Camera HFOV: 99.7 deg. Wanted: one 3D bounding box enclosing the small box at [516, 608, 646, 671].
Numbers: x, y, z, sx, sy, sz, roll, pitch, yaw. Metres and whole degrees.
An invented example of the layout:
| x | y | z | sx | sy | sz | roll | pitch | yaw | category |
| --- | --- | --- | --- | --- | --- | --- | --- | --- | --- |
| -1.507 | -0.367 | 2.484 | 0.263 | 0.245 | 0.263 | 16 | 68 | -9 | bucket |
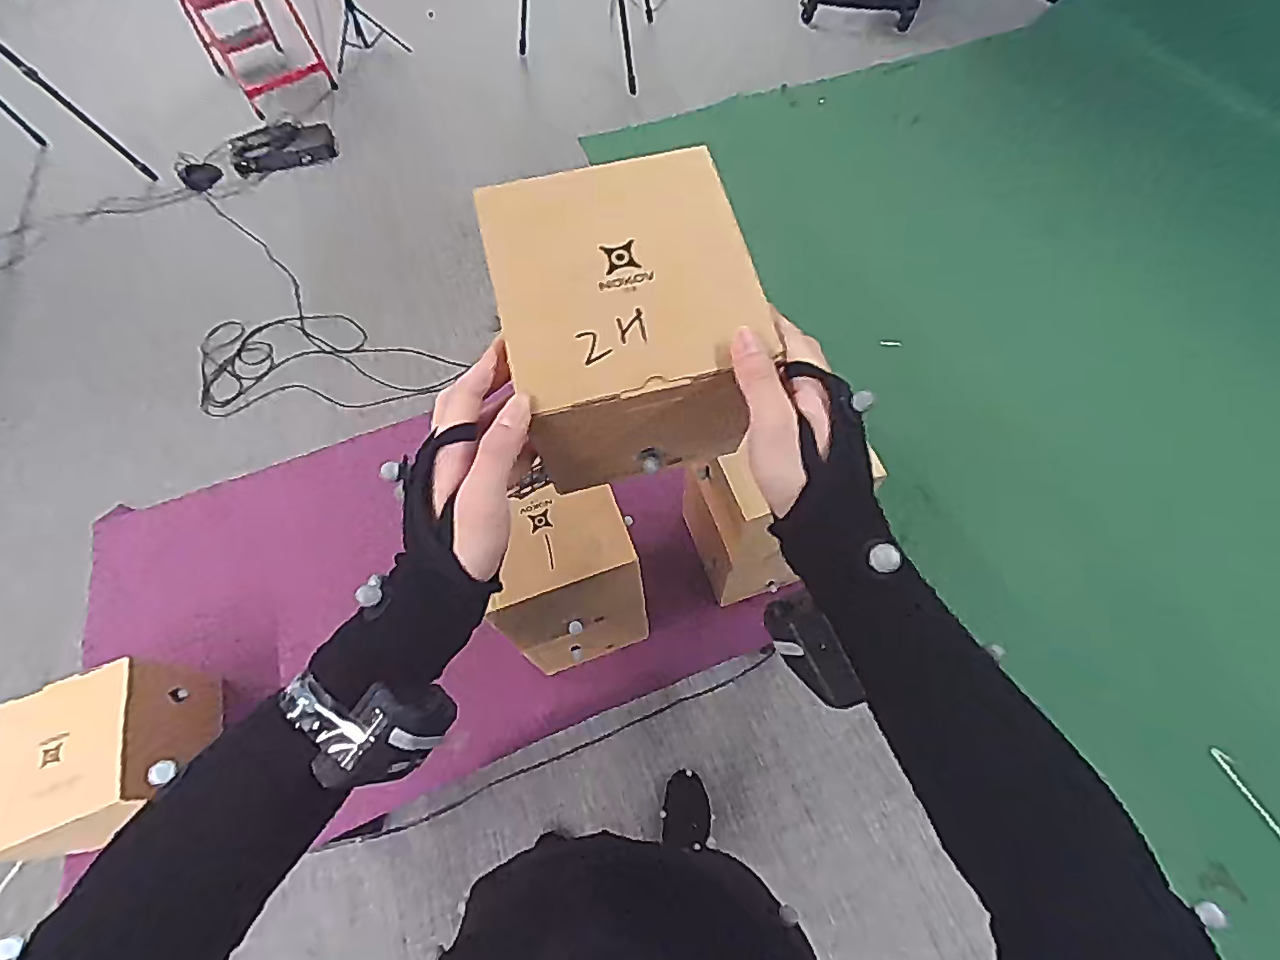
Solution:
| x | y | z | sx | sy | sz | roll | pitch | yaw | category |
| --- | --- | --- | --- | --- | --- | --- | --- | --- | --- |
| -0.096 | 0.164 | 0.788 | 0.168 | 0.176 | 0.179 | -19 | 60 | -7 | small box |

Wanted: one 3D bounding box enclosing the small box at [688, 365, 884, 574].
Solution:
| x | y | z | sx | sy | sz | roll | pitch | yaw | category |
| --- | --- | --- | --- | --- | --- | --- | --- | --- | --- |
| 0.163 | -0.008 | 0.678 | 0.168 | 0.176 | 0.179 | -17 | 61 | -6 | small box |

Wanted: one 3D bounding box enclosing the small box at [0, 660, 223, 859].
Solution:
| x | y | z | sx | sy | sz | roll | pitch | yaw | category |
| --- | --- | --- | --- | --- | --- | --- | --- | --- | --- |
| -0.684 | 0.363 | 0.704 | 0.168 | 0.176 | 0.179 | -21 | 62 | -8 | small box |

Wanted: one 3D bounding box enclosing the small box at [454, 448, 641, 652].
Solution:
| x | y | z | sx | sy | sz | roll | pitch | yaw | category |
| --- | --- | --- | --- | --- | --- | --- | --- | --- | --- |
| -0.103 | 0.081 | 0.646 | 0.168 | 0.176 | 0.179 | -19 | 61 | -7 | small box |

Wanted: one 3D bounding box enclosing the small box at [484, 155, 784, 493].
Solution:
| x | y | z | sx | sy | sz | roll | pitch | yaw | category |
| --- | --- | --- | --- | --- | --- | --- | --- | --- | --- |
| -0.010 | -0.108 | 0.425 | 0.168 | 0.176 | 0.179 | -13 | 73 | -4 | small box |
